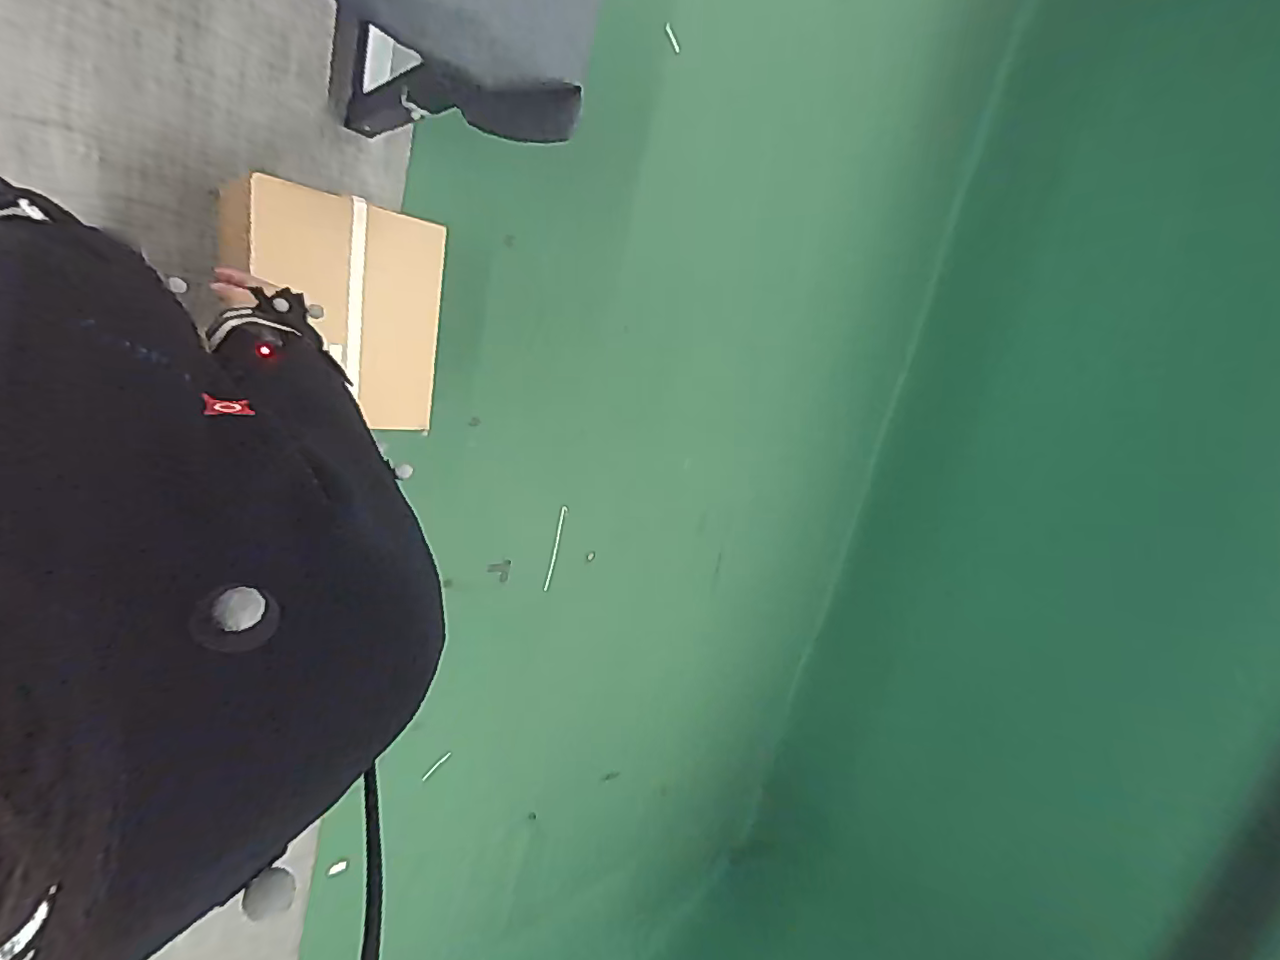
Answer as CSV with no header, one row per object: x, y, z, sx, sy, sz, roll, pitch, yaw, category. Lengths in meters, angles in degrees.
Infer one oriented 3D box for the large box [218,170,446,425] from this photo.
-0.614,-0.344,1.071,0.320,0.320,0.408,-4,112,-44,large box
